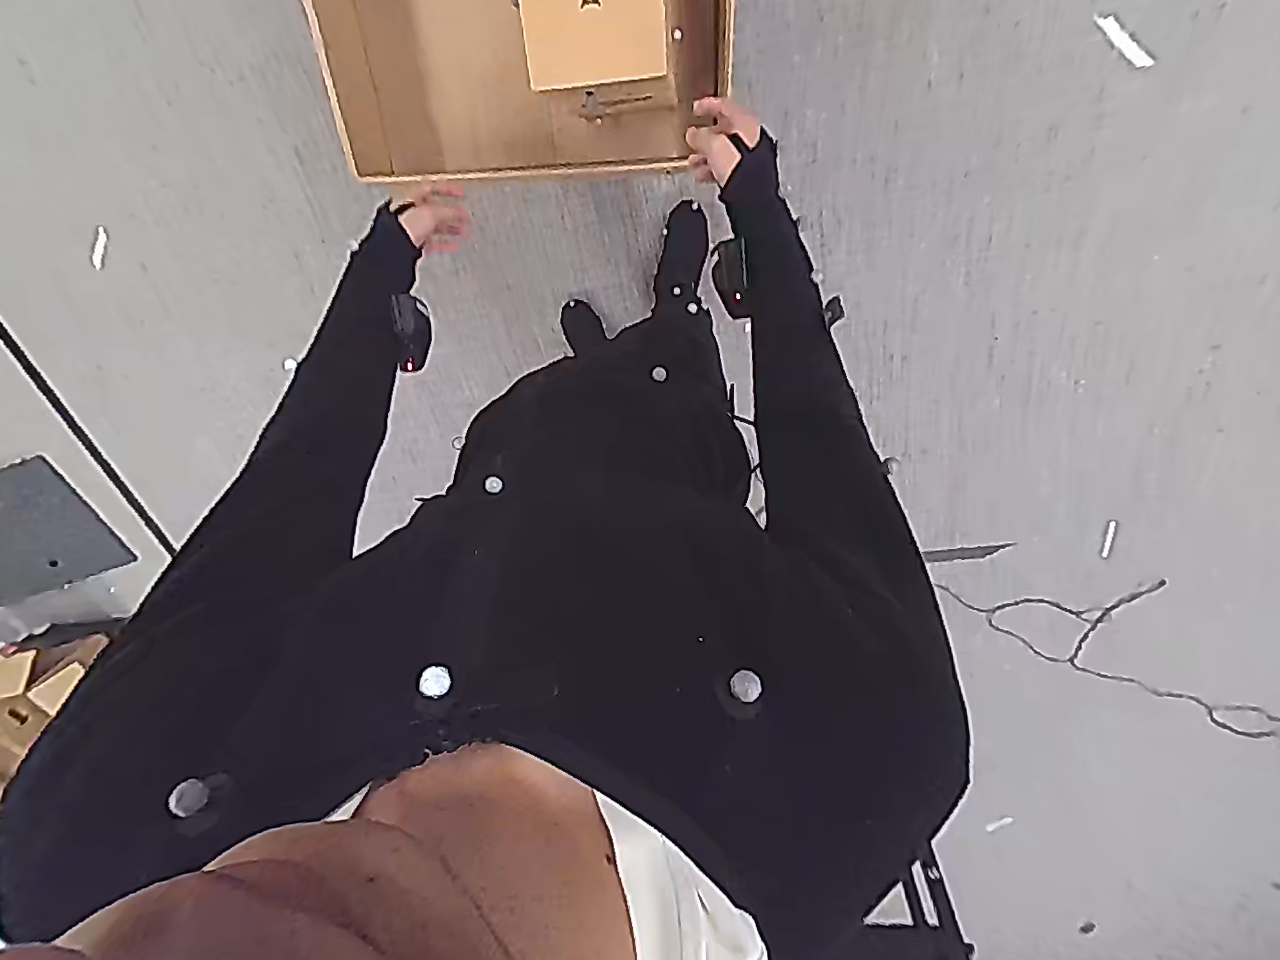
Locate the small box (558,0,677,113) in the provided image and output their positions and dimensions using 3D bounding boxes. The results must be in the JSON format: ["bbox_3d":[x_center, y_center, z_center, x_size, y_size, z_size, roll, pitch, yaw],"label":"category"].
[{"bbox_3d":[-0.034,-0.655,0.795,0.168,0.176,0.179,-2,118,8],"label":"small box"}]

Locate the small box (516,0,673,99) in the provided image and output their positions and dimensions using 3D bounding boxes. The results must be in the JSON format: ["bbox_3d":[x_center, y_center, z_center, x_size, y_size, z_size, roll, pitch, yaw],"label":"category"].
[{"bbox_3d":[-0.049,-0.577,0.653,0.168,0.176,0.179,-2,118,7],"label":"small box"}]
